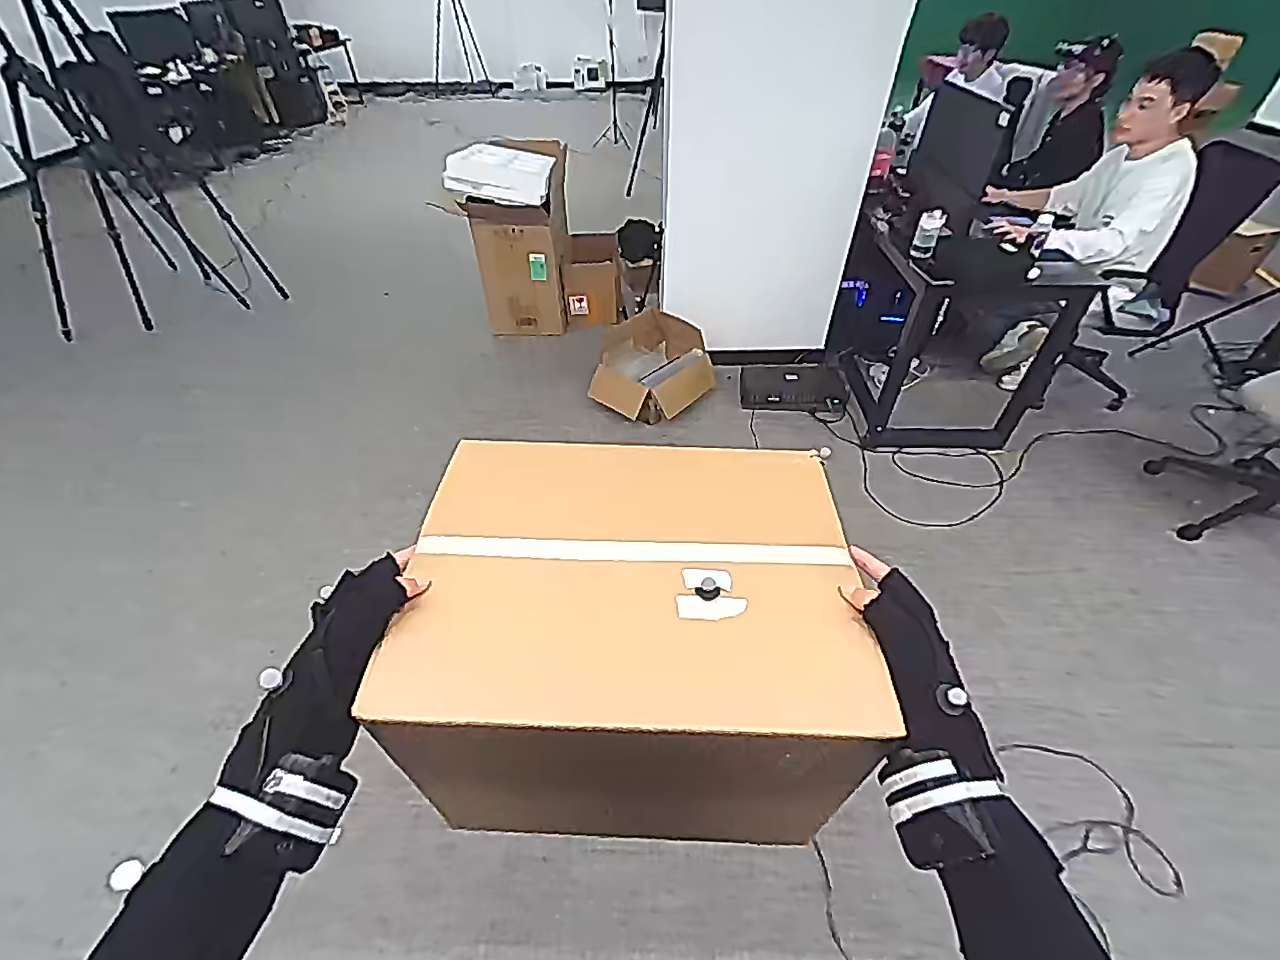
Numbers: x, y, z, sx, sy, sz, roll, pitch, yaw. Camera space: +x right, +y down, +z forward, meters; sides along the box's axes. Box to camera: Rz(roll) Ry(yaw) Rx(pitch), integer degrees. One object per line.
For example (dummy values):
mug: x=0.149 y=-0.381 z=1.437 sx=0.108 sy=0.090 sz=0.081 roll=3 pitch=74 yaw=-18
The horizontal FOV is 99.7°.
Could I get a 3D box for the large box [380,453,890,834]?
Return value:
large box: x=-0.005 y=0.186 z=0.622 sx=0.408 sy=0.320 sz=0.320 roll=2 pitch=44 yaw=1
